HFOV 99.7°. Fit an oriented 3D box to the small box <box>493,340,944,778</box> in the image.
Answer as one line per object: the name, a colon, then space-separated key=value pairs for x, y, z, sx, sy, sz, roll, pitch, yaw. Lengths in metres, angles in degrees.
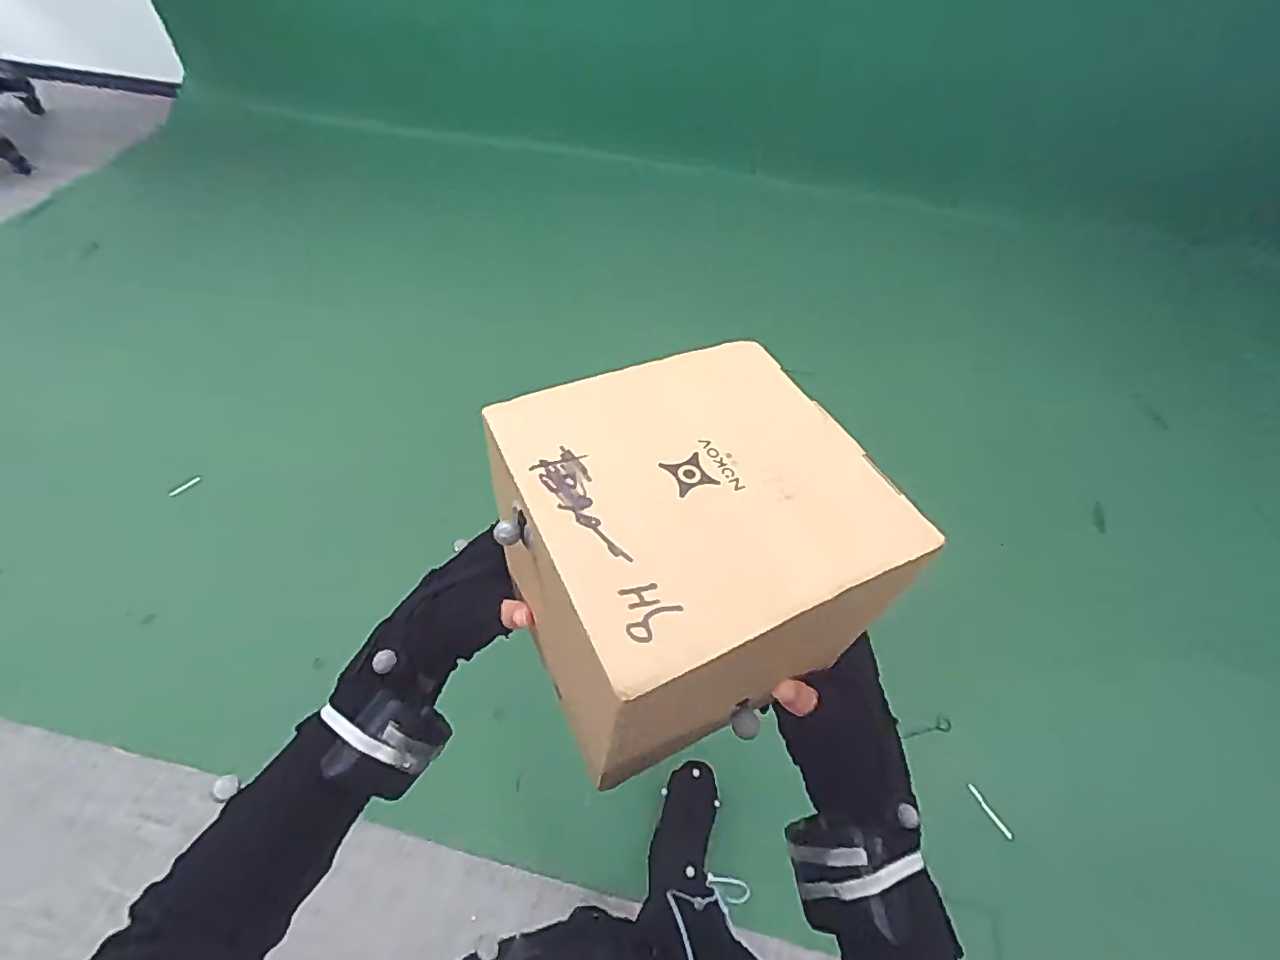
small box: x=0.024 y=0.045 z=0.326 sx=0.179 sy=0.176 sz=0.168 roll=-18 pitch=55 yaw=-22
